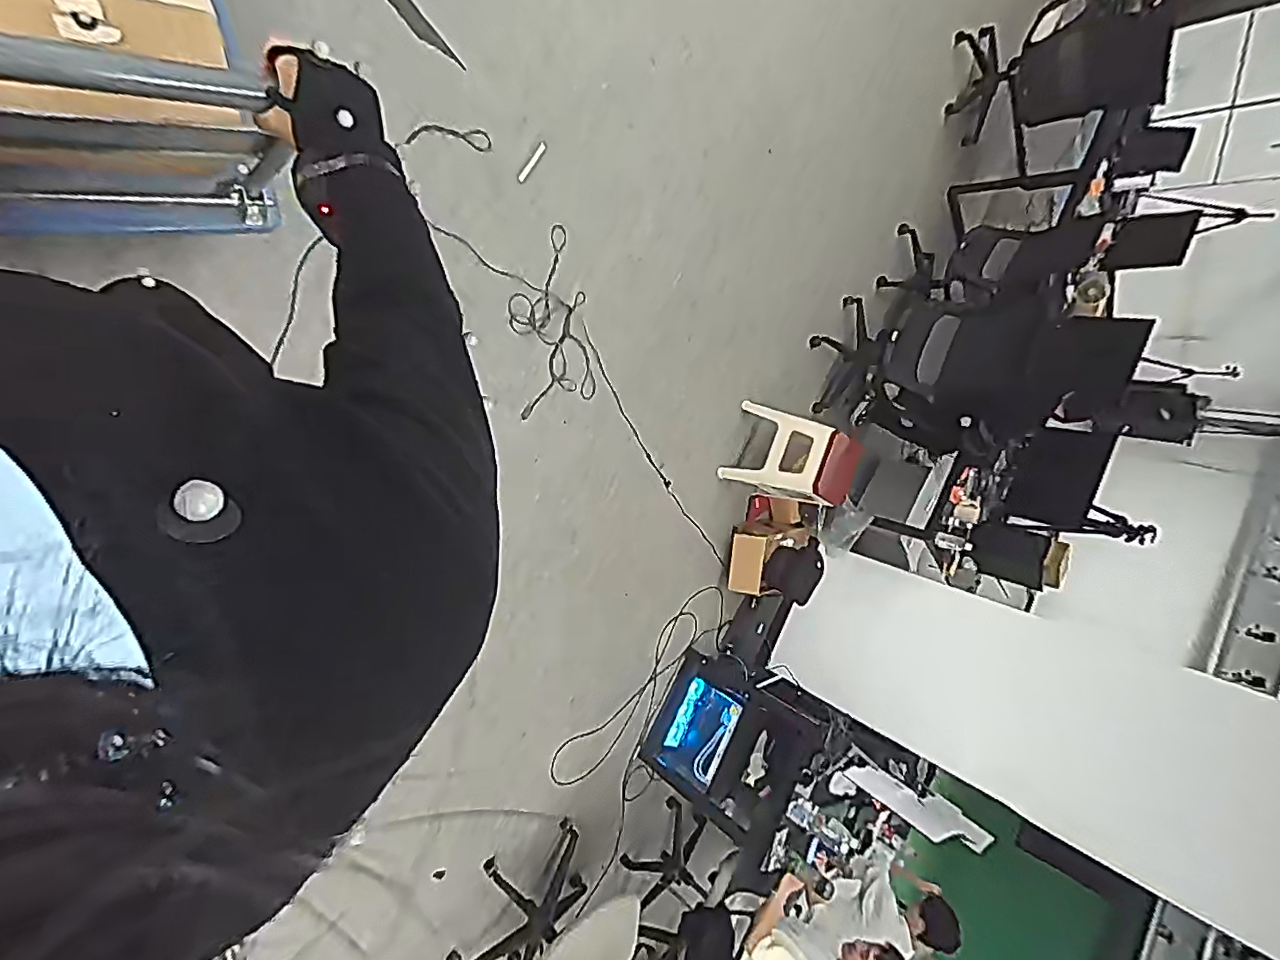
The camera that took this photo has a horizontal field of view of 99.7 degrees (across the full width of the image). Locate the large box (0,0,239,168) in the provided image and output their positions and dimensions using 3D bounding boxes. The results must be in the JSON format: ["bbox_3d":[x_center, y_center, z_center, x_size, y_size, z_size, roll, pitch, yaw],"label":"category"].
[{"bbox_3d":[-0.829,-0.613,0.697,0.408,0.320,0.320,-23,118,-40],"label":"large box"}]
